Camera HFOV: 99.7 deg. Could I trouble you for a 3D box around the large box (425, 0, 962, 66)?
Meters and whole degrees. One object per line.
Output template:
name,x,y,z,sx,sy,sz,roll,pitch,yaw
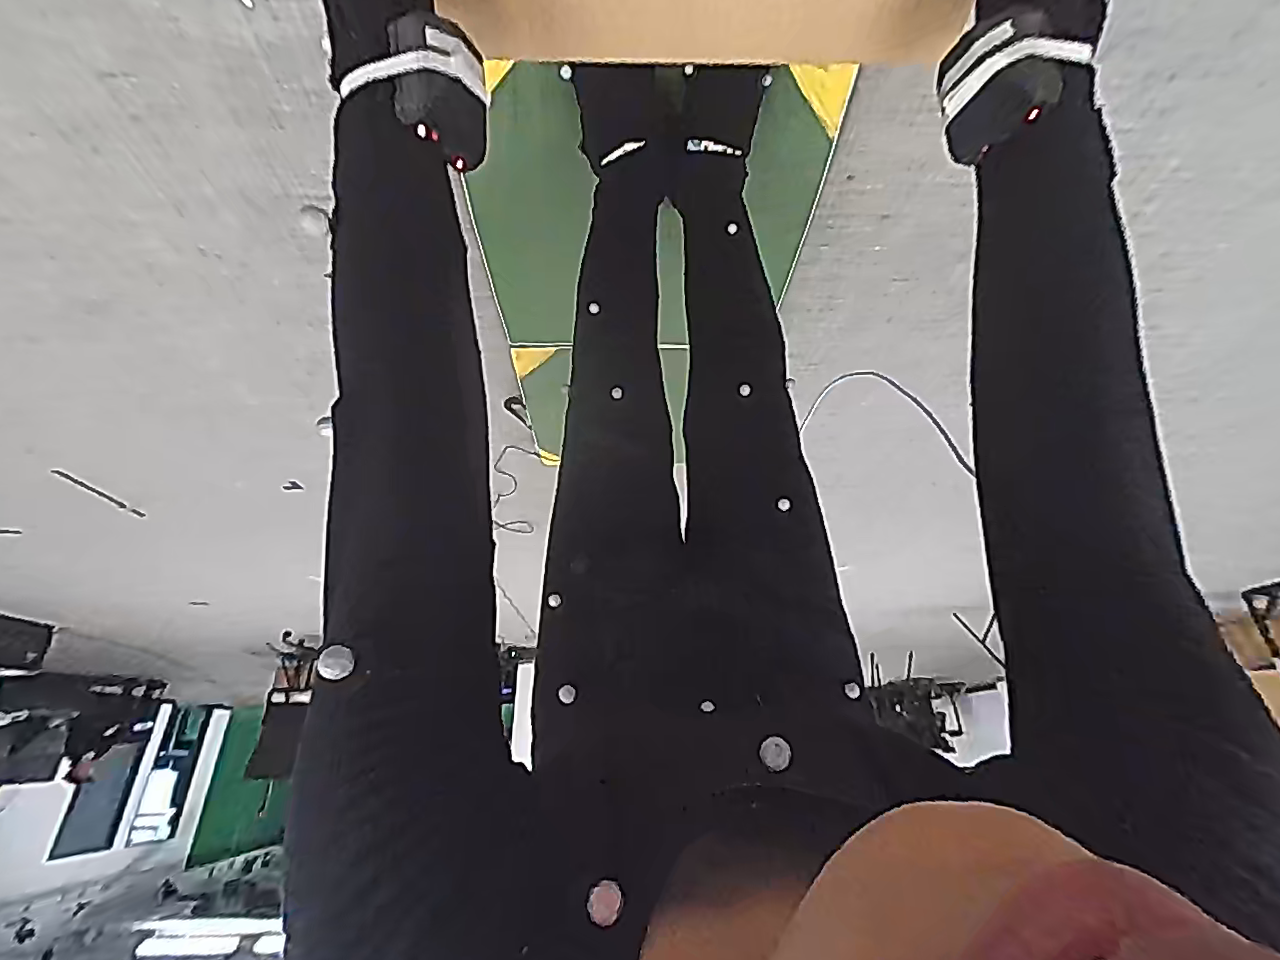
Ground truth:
large box,0.036,-0.541,0.384,0.408,0.320,0.320,0,147,0
